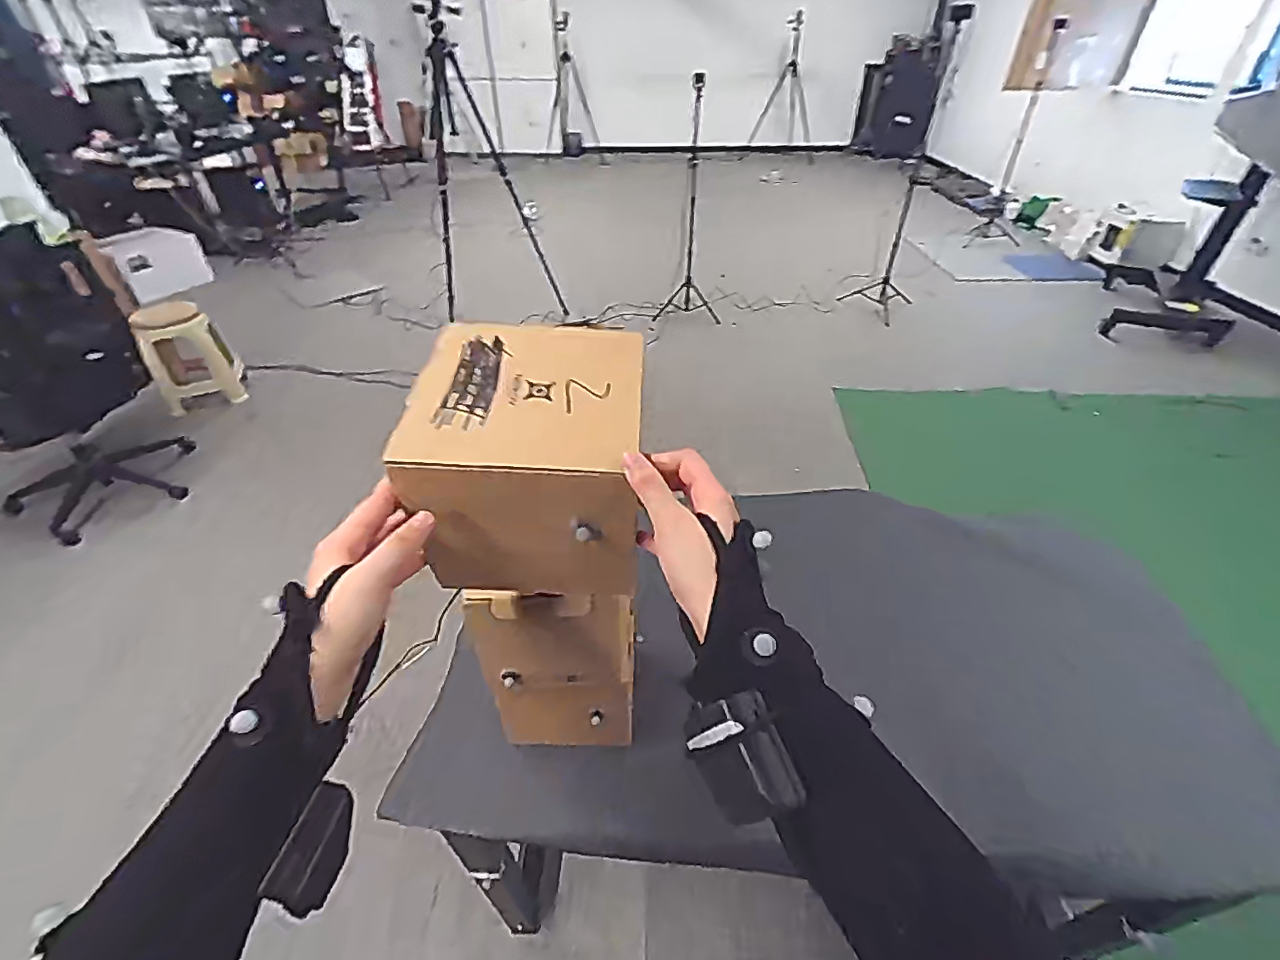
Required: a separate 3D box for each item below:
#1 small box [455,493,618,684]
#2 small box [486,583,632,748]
[{"bbox_3d":[-0.113,0.136,0.672,0.168,0.176,0.179,-2,37,-3],"label":"small box"},{"bbox_3d":[-0.101,0.264,0.776,0.179,0.176,0.168,-1,38,1],"label":"small box"}]
